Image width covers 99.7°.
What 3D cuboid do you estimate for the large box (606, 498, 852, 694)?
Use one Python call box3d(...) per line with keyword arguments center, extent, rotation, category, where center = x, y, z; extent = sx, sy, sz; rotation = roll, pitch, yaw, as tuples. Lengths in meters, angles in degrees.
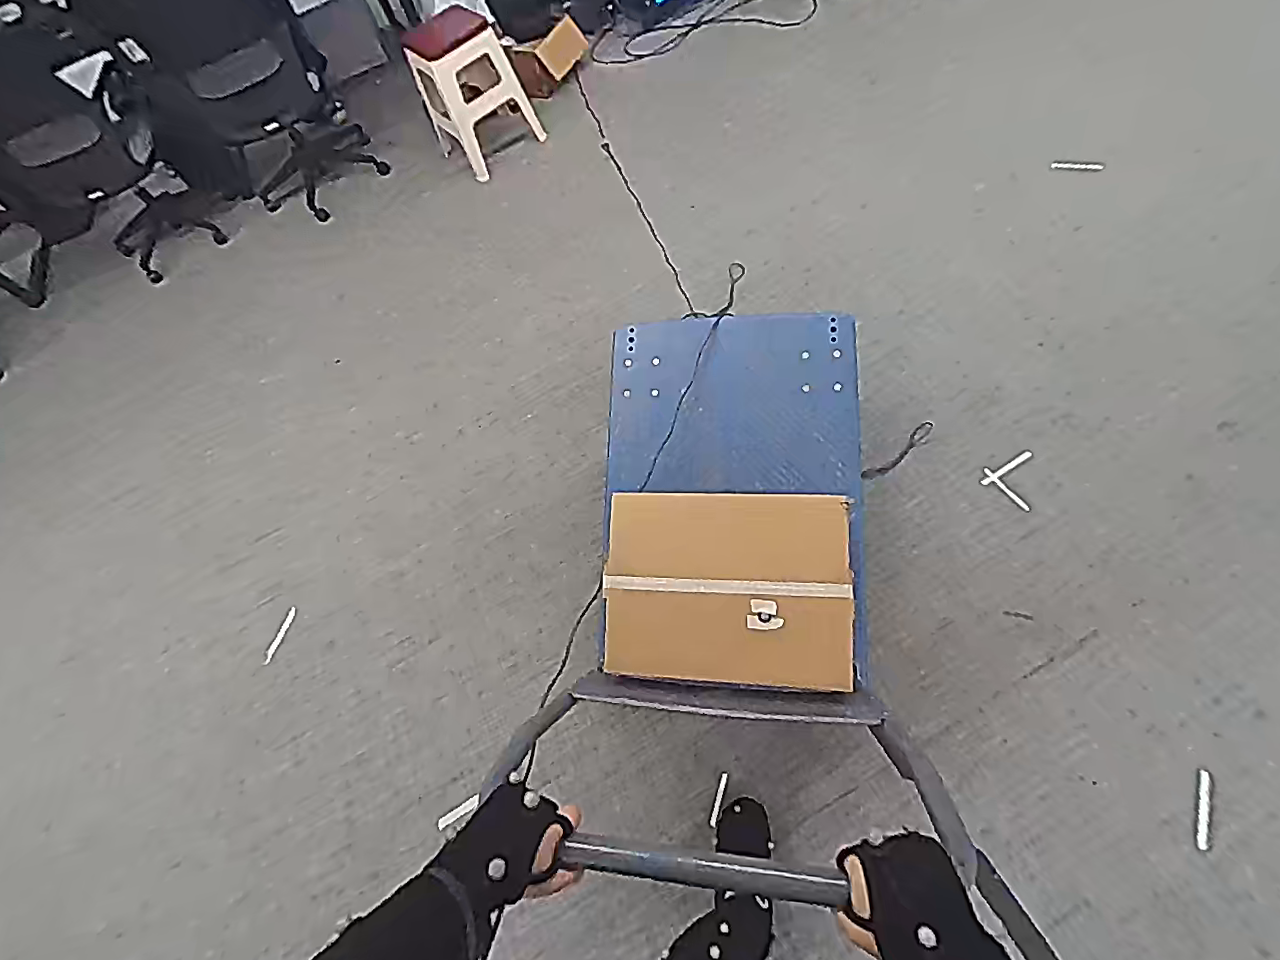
box3d(center=(0.165, 0.212, 1.046), extent=(0.408, 0.320, 0.320), rotation=(1, 81, 11), category="large box")
